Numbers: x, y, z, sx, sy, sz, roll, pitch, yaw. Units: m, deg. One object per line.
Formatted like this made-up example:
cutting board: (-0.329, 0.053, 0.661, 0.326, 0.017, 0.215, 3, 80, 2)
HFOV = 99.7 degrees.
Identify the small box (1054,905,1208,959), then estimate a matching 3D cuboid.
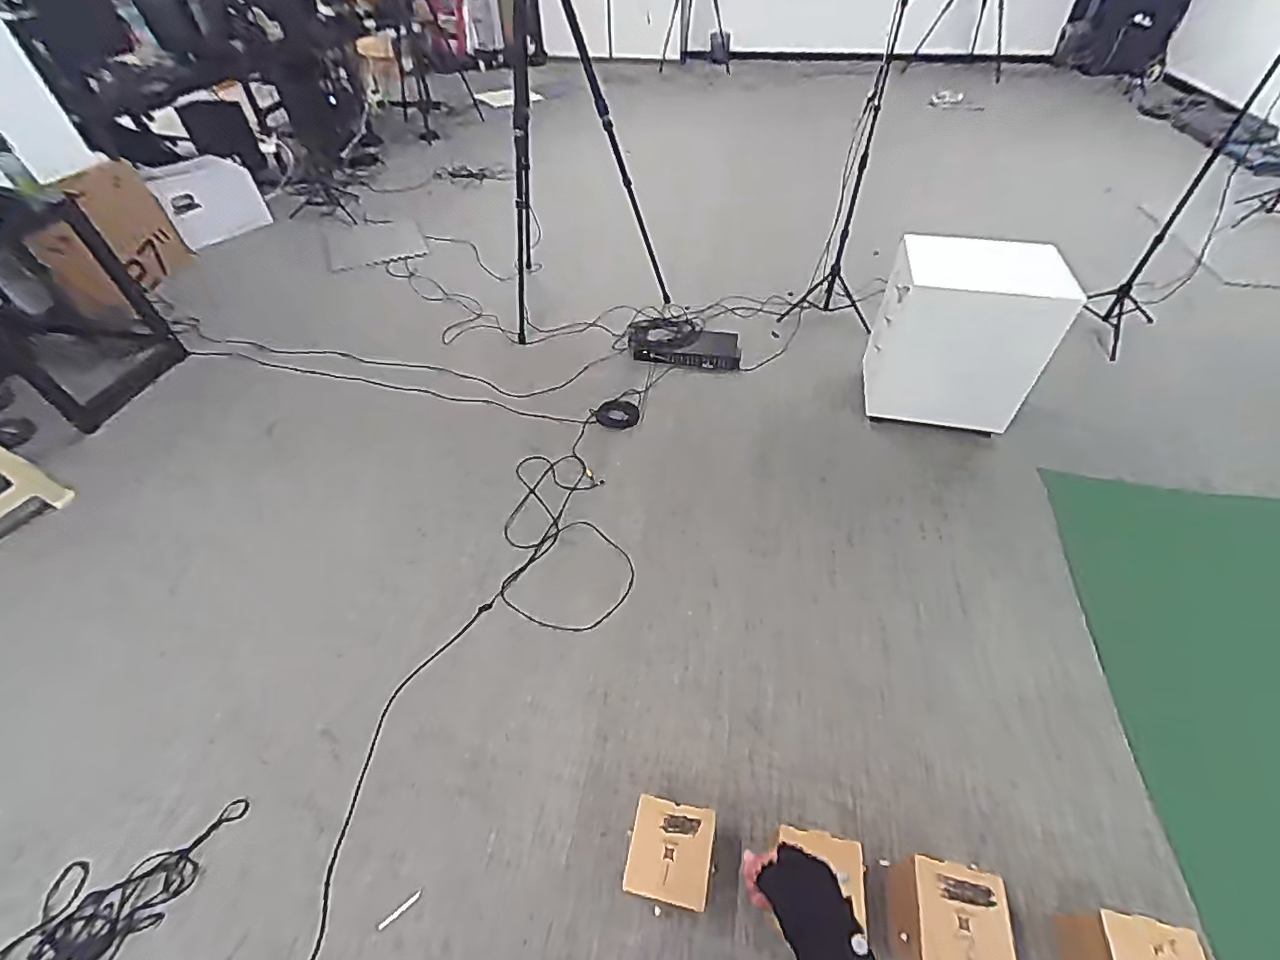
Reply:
small box: (0.928, 0.930, 1.012, 0.168, 0.176, 0.179, 8, 49, 8)

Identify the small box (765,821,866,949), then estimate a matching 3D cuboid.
small box: (0.354, 0.835, 1.112, 0.168, 0.176, 0.179, 8, 47, 9)

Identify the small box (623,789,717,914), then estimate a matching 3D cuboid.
small box: (0.066, 0.794, 1.154, 0.168, 0.176, 0.179, 9, 50, 10)
